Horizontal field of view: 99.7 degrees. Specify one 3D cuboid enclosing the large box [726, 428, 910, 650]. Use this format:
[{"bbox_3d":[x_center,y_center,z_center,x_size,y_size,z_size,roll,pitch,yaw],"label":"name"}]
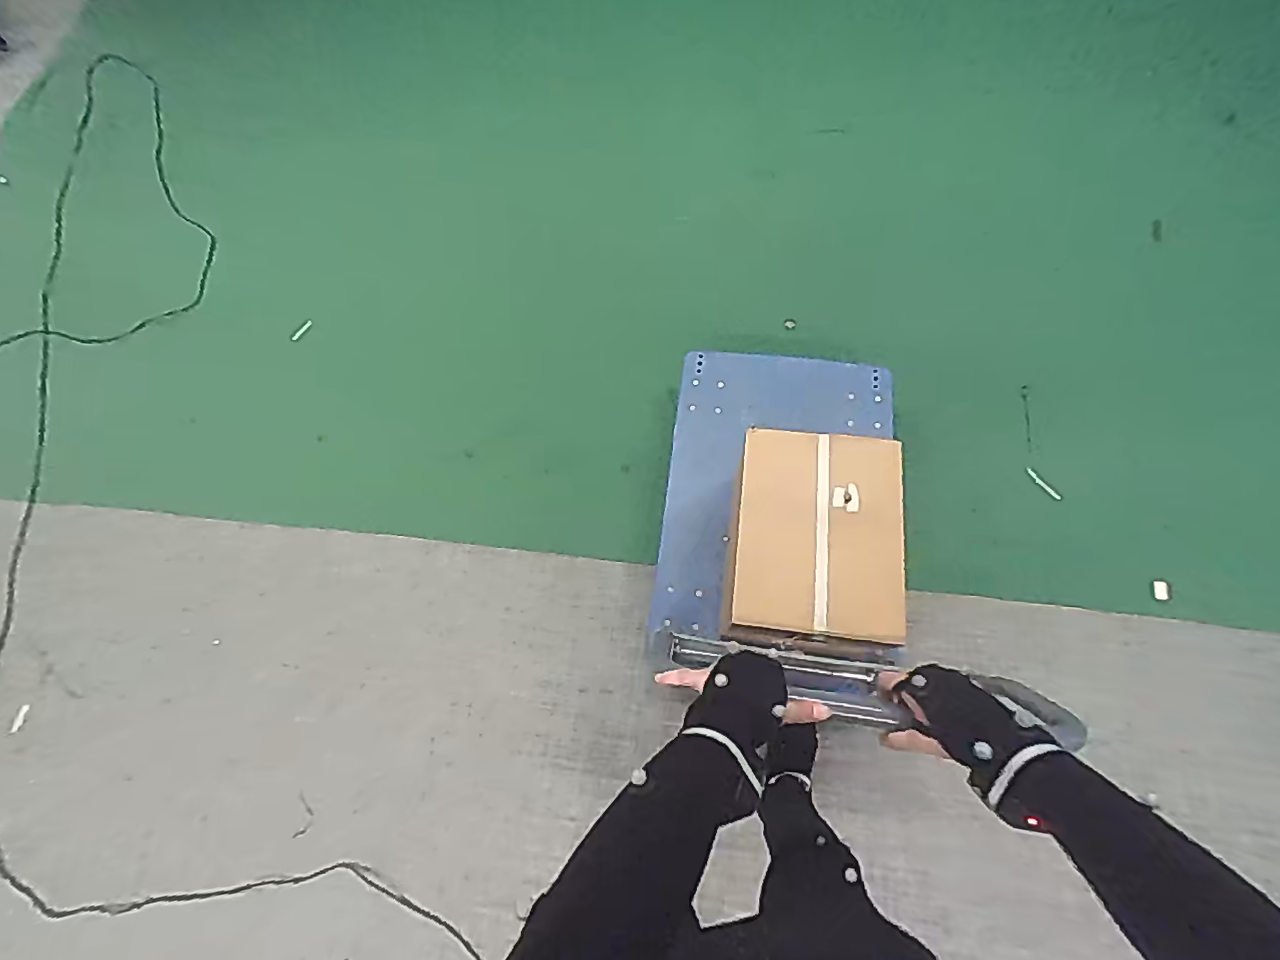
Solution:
[{"bbox_3d":[0.360,0.142,1.178,0.320,0.320,0.408,6,70,5],"label":"large box"}]
